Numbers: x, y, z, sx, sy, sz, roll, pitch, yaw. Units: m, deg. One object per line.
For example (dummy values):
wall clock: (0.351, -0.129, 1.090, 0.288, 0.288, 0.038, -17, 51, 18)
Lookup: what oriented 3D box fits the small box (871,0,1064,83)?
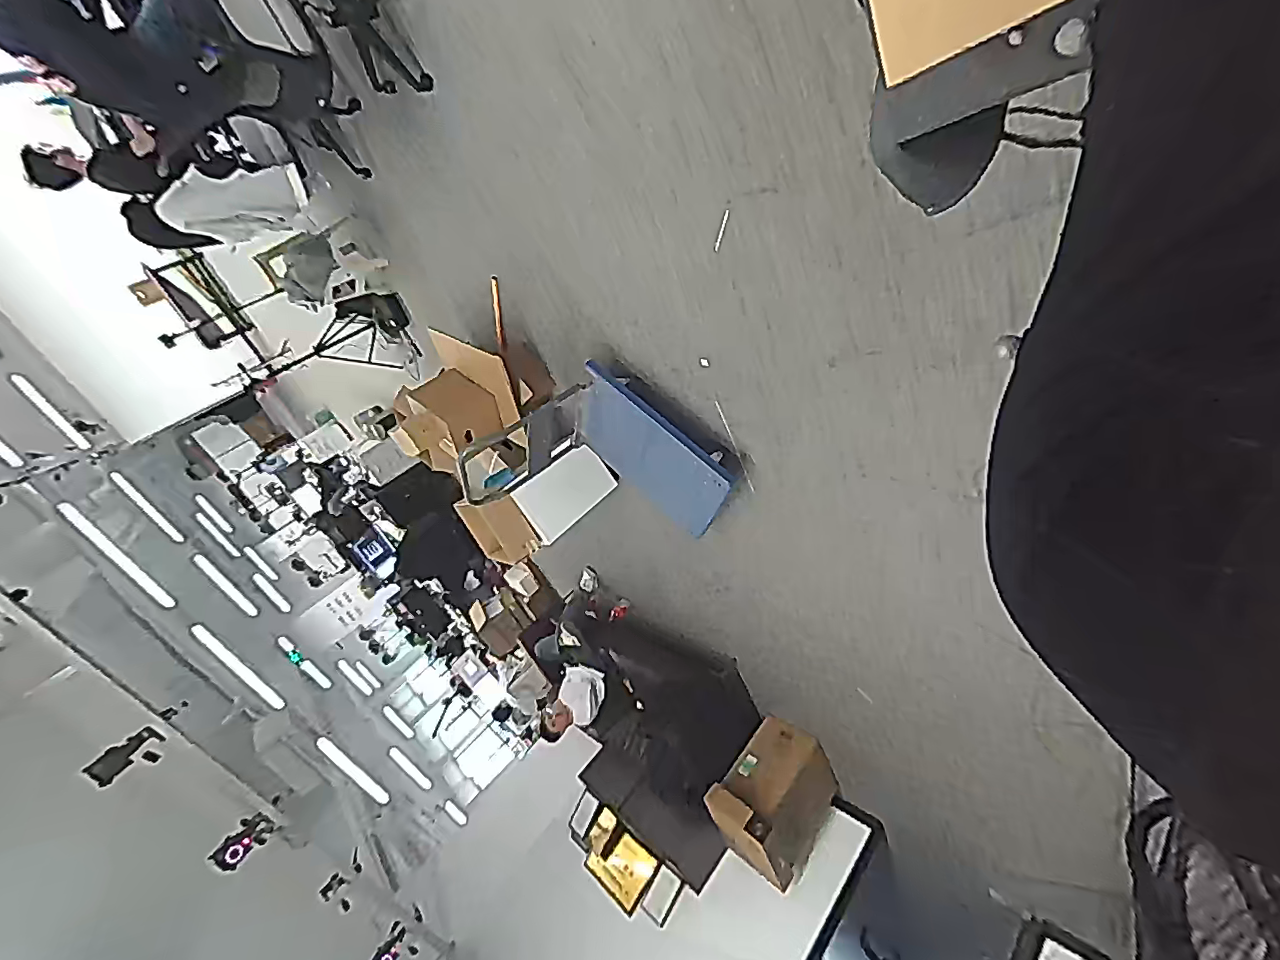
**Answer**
small box: (0.294, -0.458, 0.420, 0.179, 0.176, 0.168, 7, 131, 51)
